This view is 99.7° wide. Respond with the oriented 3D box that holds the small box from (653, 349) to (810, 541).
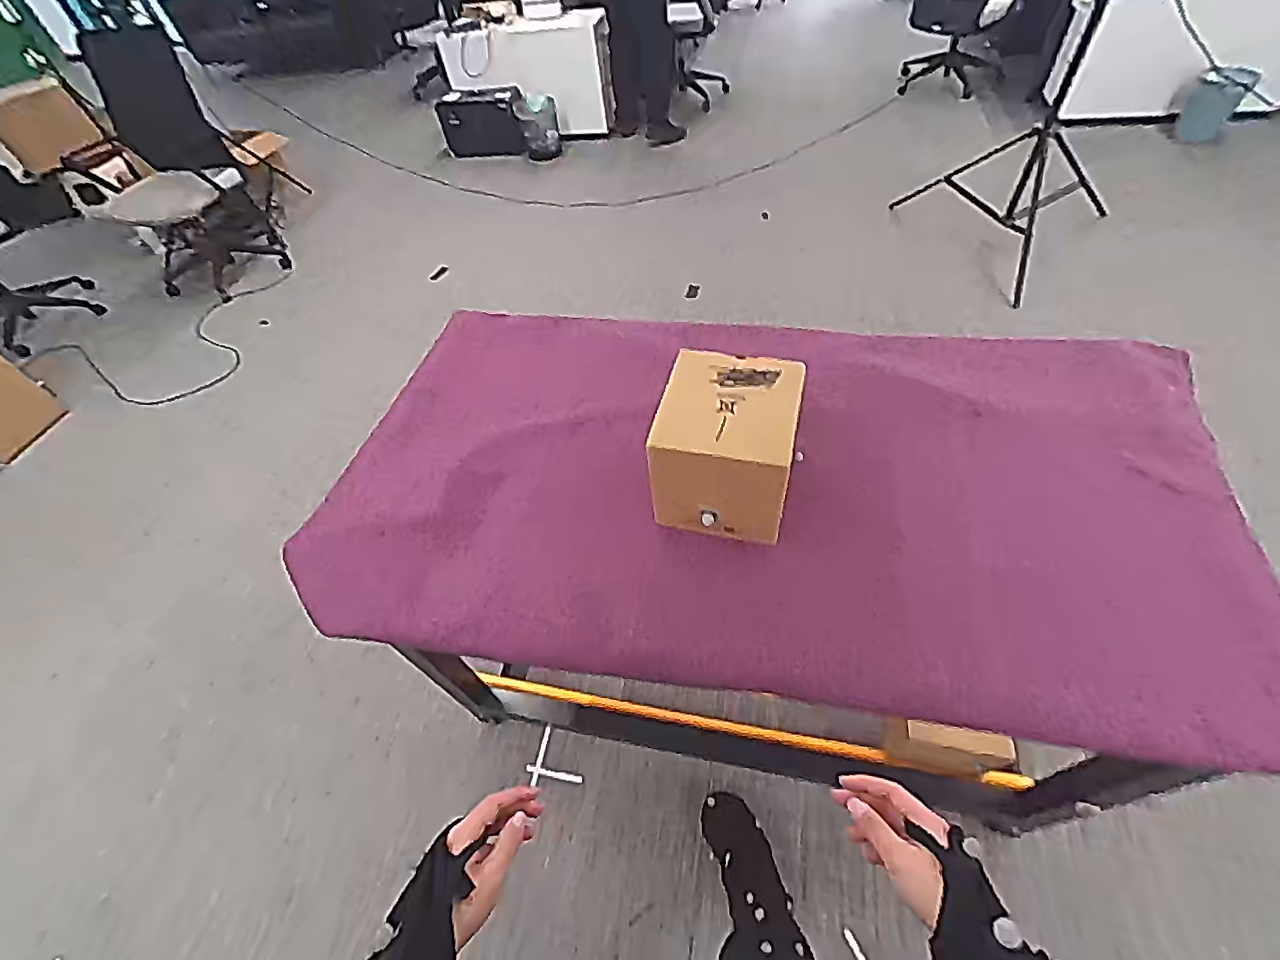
[{"bbox_3d":[0.122,-0.046,0.718,0.168,0.176,0.179,9,53,15],"label":"small box"}]
